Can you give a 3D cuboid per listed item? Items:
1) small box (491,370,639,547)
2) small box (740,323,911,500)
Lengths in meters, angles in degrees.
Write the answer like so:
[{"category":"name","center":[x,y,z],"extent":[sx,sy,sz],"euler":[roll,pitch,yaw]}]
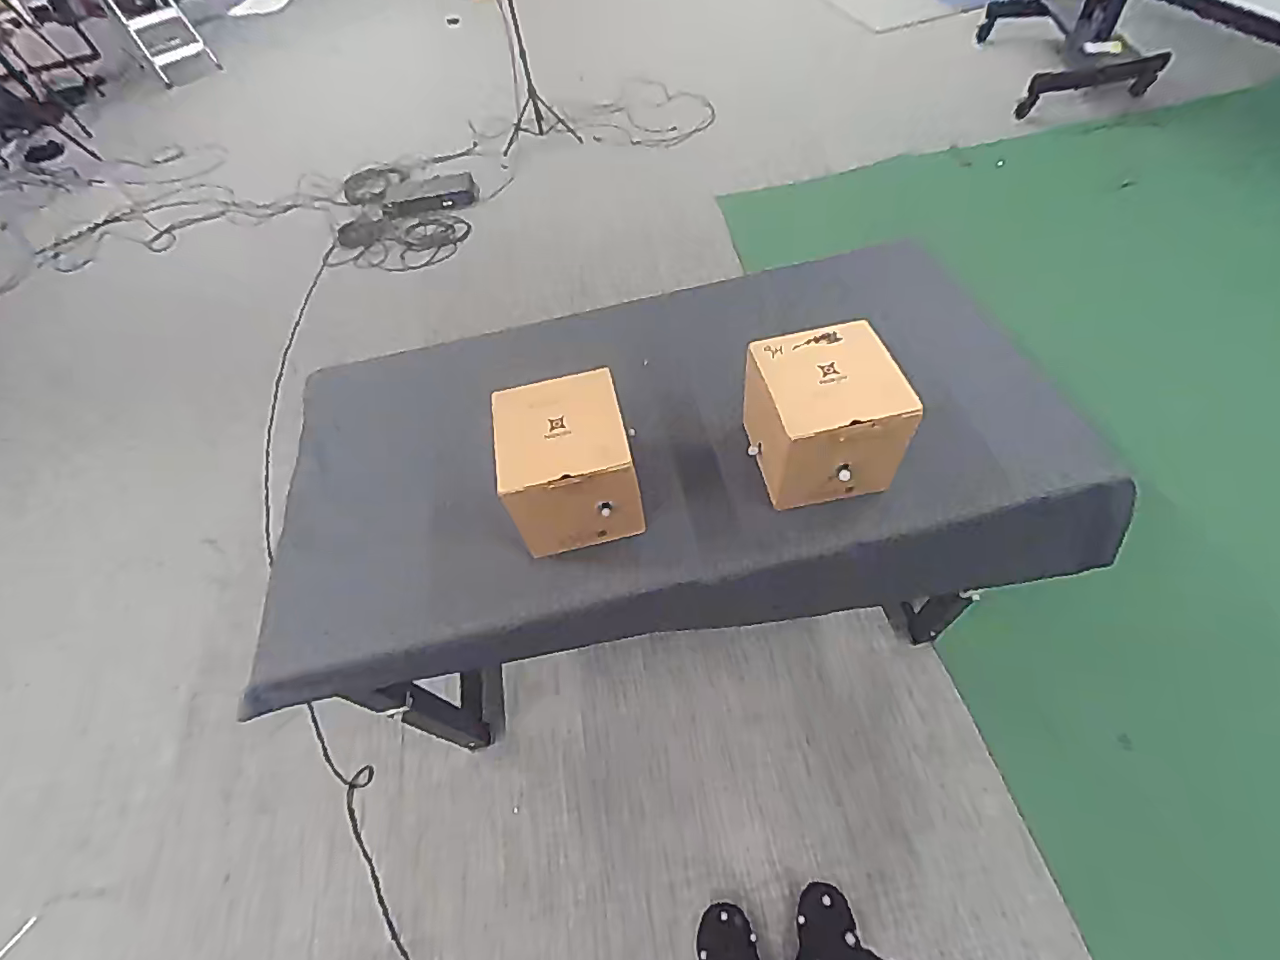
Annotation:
[{"category":"small box","center":[-0.101,-0.022,0.762],"extent":[0.168,0.176,0.179],"euler":[-13,53,-4]},{"category":"small box","center":[0.245,-0.086,0.762],"extent":[0.168,0.176,0.179],"euler":[-11,55,-1]}]
